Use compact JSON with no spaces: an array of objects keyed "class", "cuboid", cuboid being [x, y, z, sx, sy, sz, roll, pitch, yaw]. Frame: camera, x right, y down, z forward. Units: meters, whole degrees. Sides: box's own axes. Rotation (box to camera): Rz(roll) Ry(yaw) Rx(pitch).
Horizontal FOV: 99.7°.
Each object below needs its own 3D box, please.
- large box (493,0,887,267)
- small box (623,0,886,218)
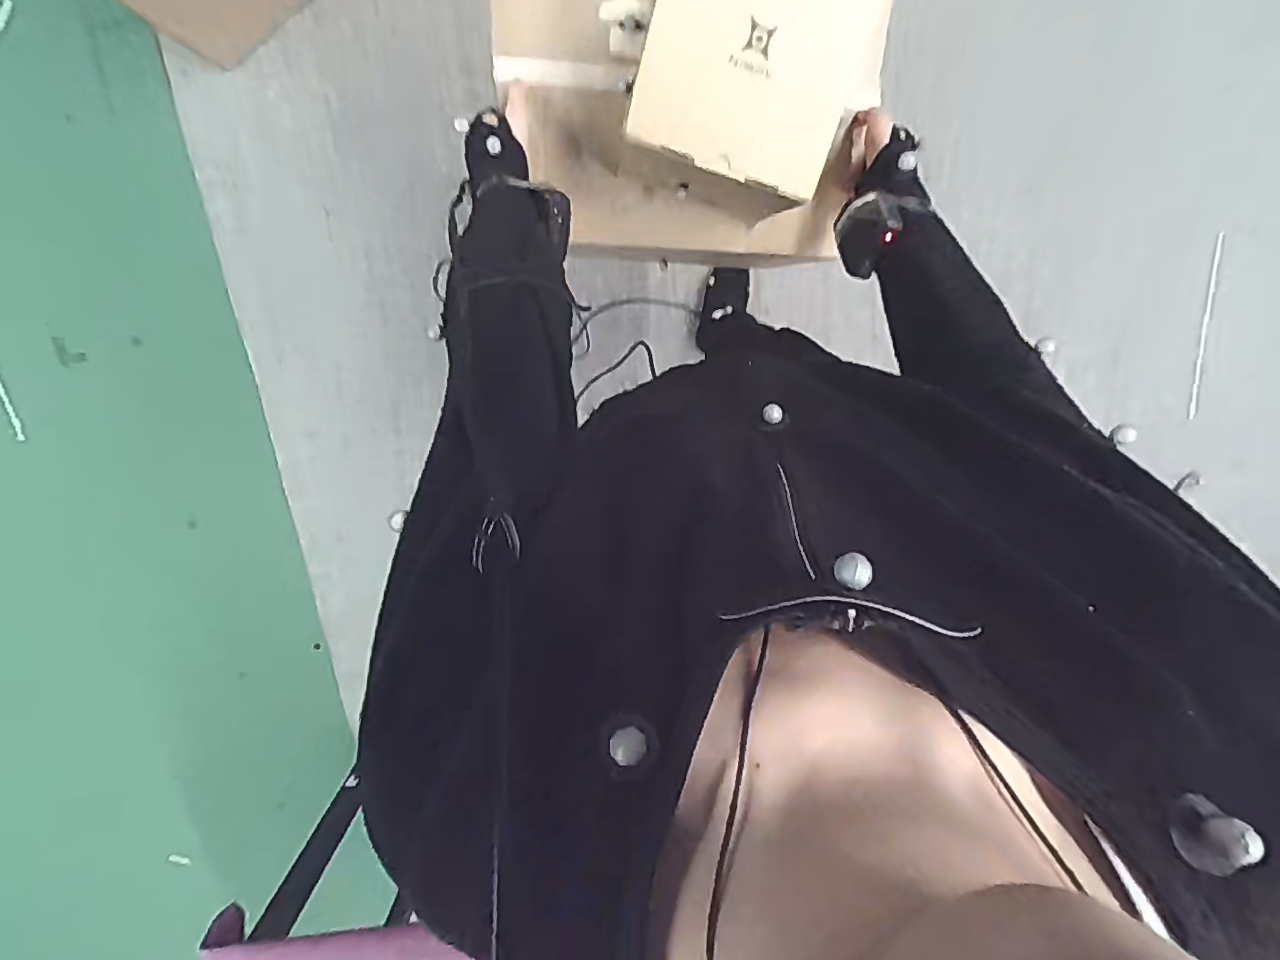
[{"class":"large box","cuboid":[0.045,-0.450,0.705,0.408,0.320,0.320,1,108,-3]},{"class":"small box","cuboid":[0.084,-0.355,0.481,0.168,0.176,0.179,14,109,-9]}]
